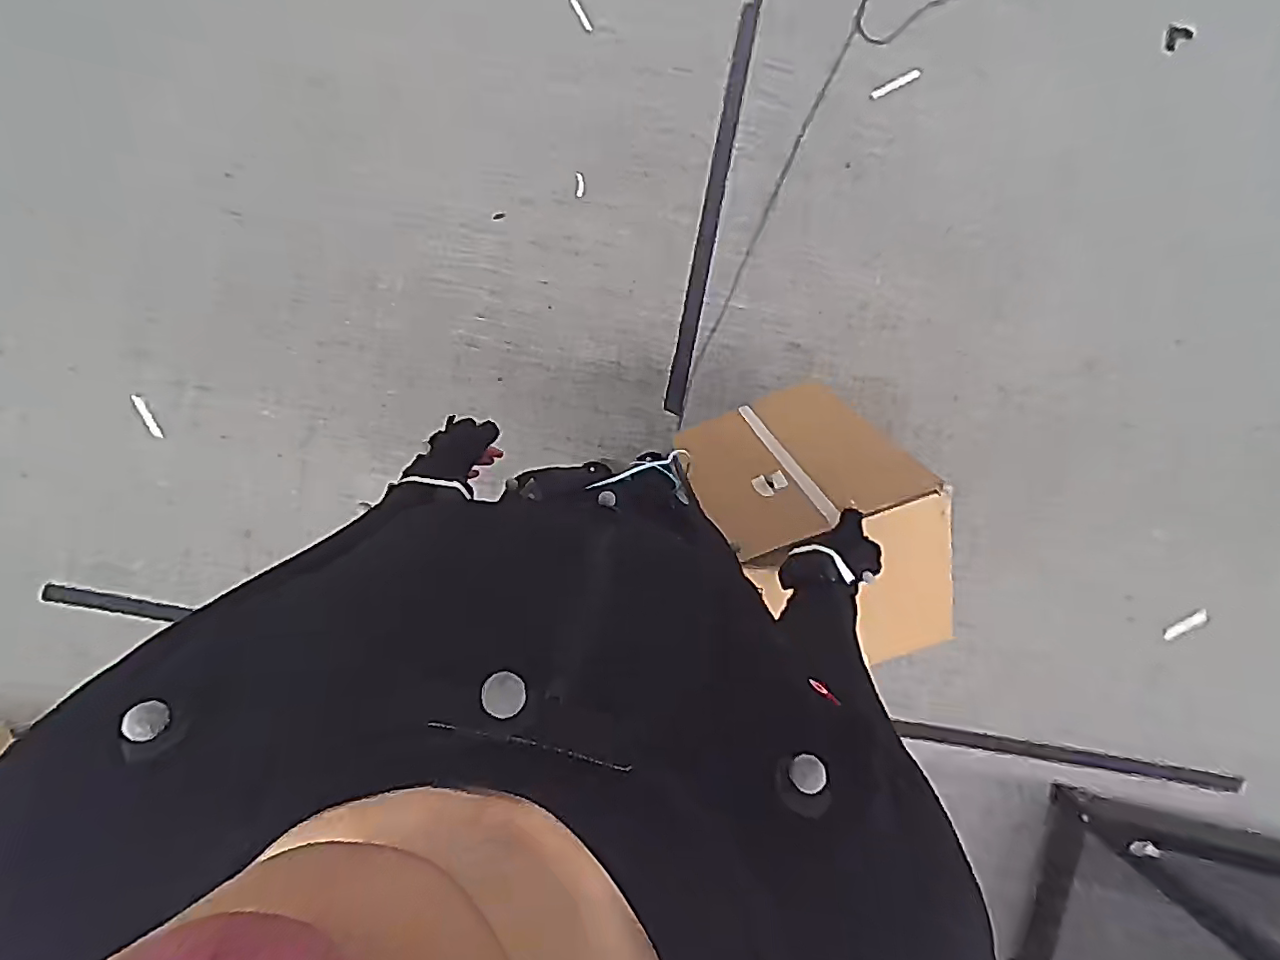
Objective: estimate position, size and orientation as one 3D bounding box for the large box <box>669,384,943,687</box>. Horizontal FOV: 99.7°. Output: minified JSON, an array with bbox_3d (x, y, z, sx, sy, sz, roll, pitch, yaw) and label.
[{"bbox_3d":[0.277,0.081,0.980,0.320,0.408,0.320,-21,124,2],"label":"large box"}]
